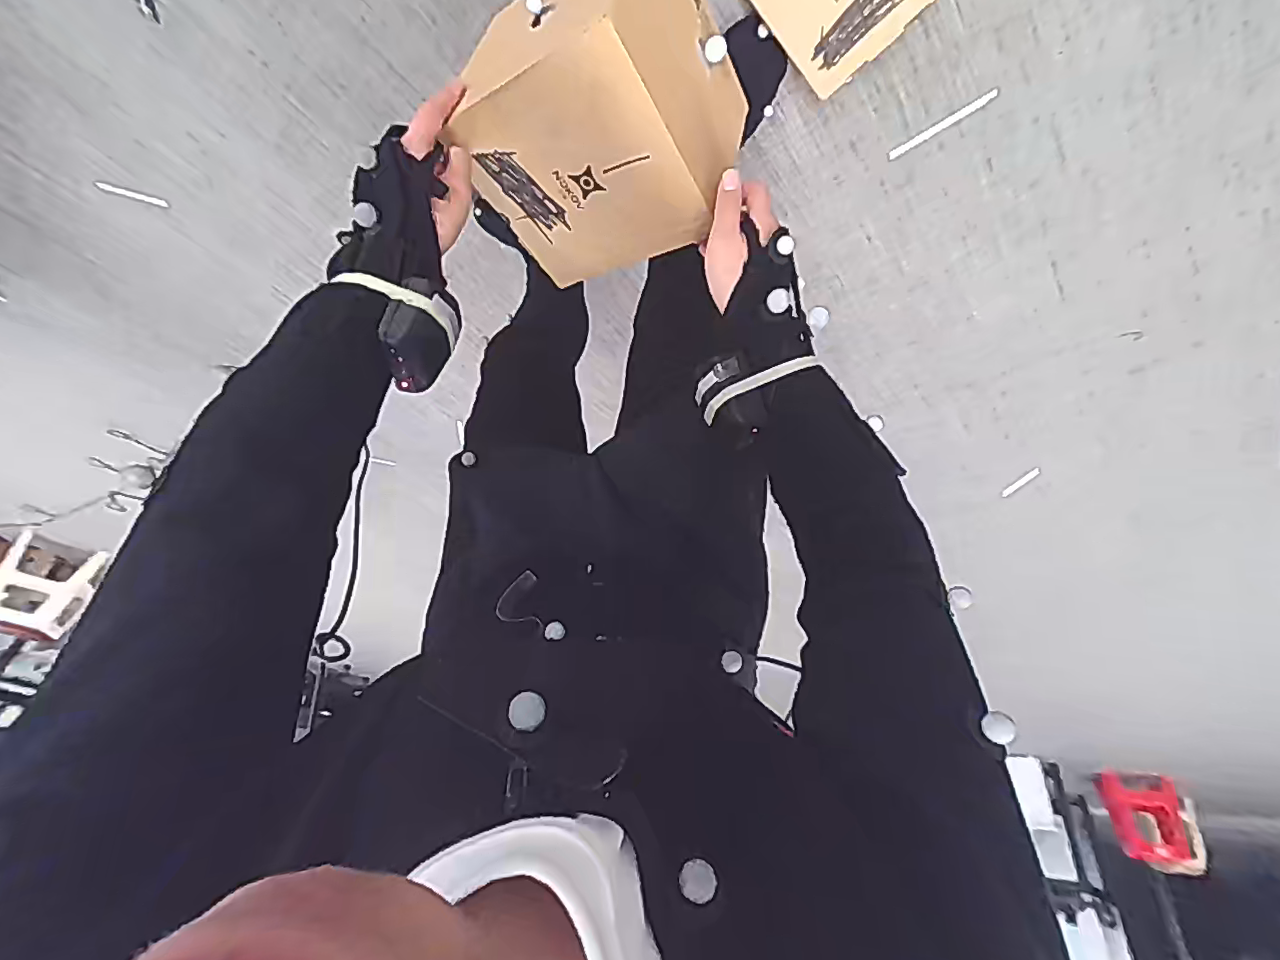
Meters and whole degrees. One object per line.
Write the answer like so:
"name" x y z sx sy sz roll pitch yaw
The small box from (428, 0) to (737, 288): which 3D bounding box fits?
"small box" -0.034 -0.300 0.455 0.179 0.176 0.168 -4 151 33
